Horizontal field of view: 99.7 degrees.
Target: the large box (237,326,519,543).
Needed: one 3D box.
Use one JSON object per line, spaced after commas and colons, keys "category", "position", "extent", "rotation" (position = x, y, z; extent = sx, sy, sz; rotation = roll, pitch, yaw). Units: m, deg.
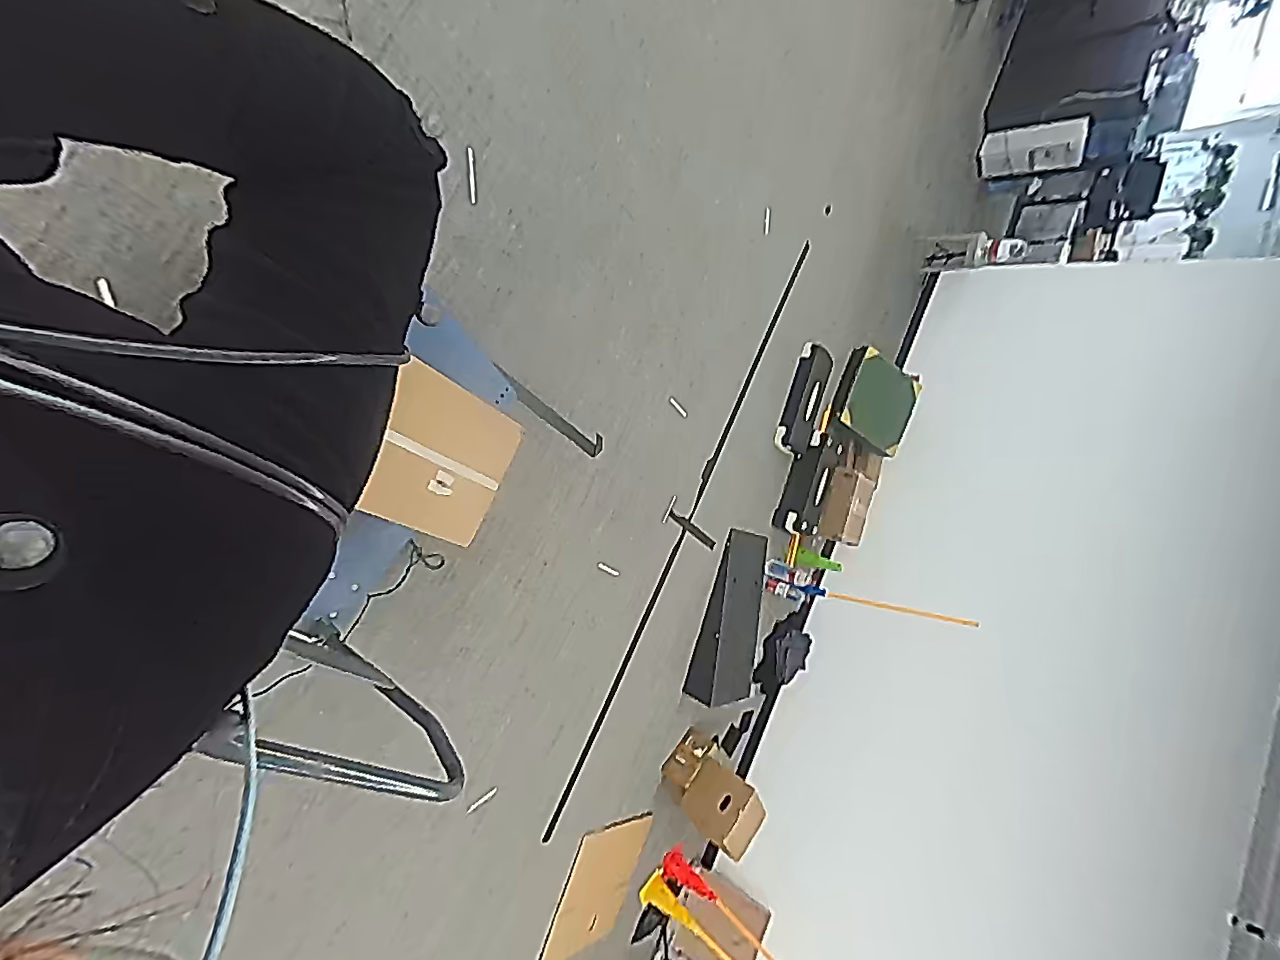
{"category": "large box", "position": [-0.559, -0.096, 1.189], "extent": [0.408, 0.320, 0.320], "rotation": [35, 76, -50]}
